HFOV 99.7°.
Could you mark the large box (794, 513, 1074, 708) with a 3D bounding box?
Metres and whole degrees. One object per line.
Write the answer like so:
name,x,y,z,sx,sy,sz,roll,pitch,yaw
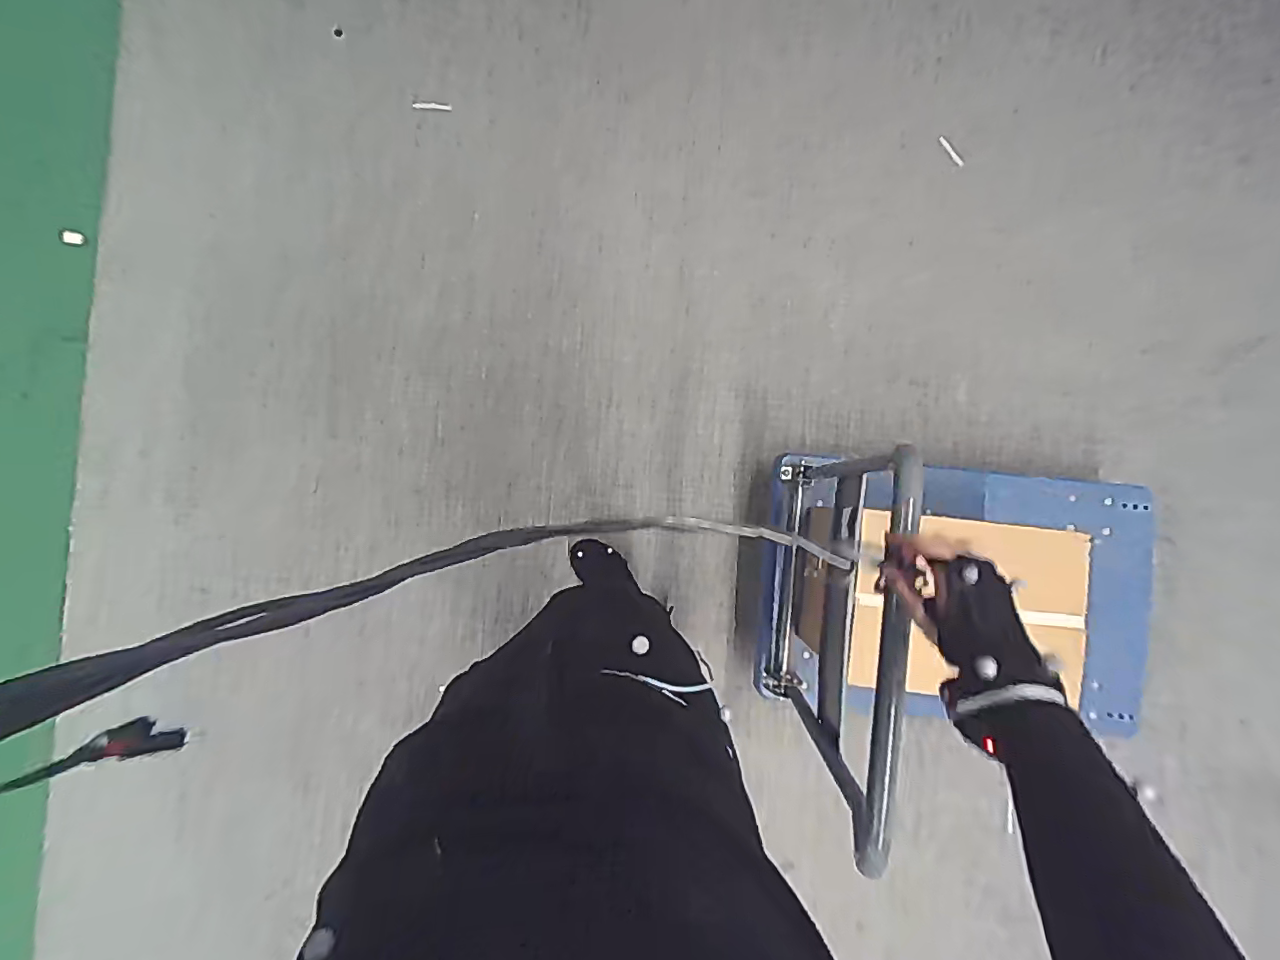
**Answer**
large box,0.562,0.238,1.107,0.408,0.320,0.320,7,88,0
